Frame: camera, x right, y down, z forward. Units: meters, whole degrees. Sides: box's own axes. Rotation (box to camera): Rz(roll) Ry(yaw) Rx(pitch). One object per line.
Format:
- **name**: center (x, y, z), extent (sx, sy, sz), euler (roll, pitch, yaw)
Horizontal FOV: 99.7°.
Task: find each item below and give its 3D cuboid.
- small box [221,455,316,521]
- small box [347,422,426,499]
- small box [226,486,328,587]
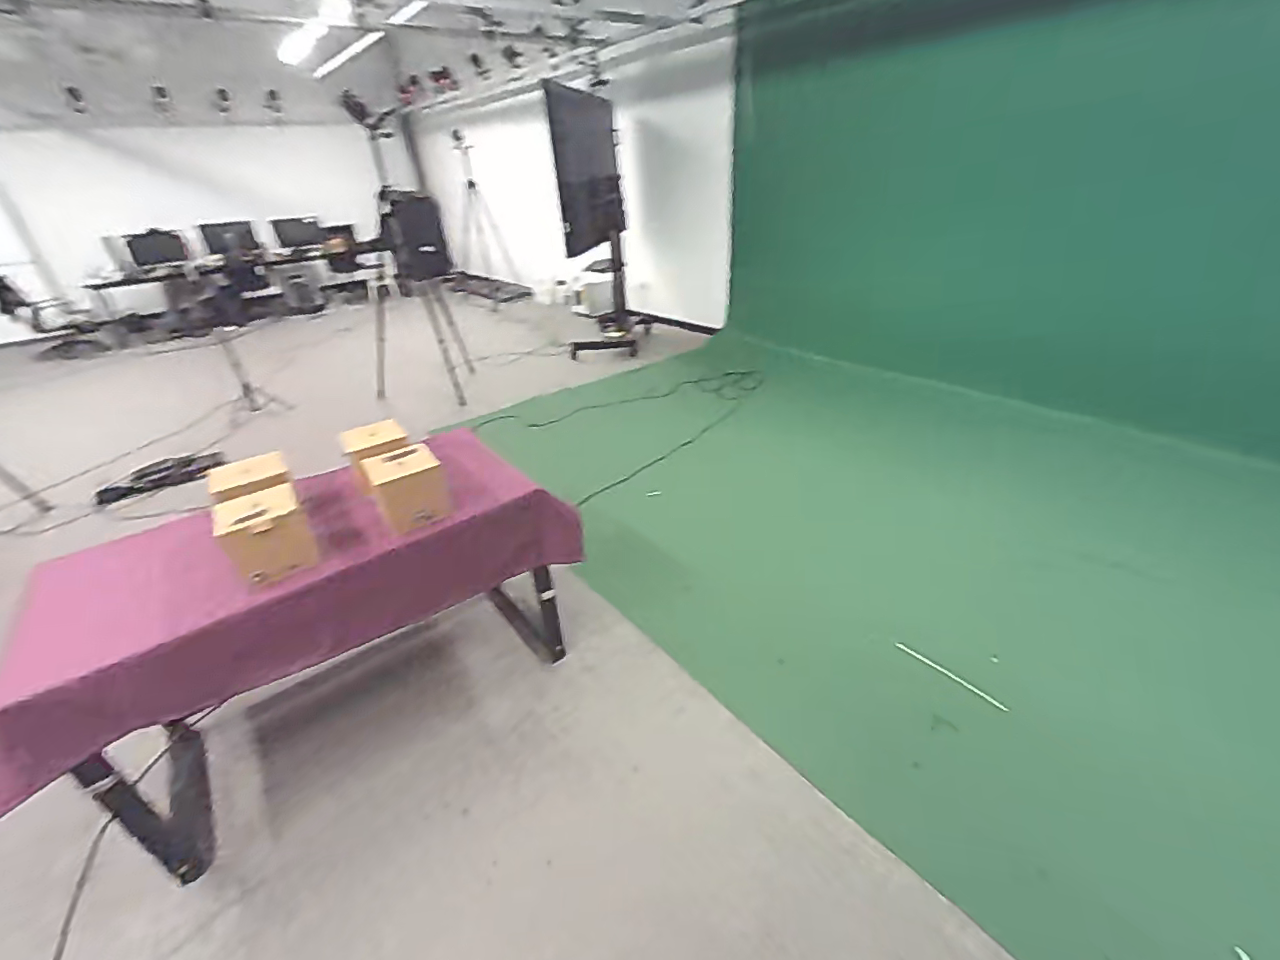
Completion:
- **small box**: center (-1.058, 0.055, 1.544), extent (0.179, 0.176, 0.168), euler (-22, 35, -27)
- **small box**: center (-0.795, -0.060, 1.702), extent (0.168, 0.176, 0.179), euler (-22, 34, -27)
- **small box**: center (-0.911, 0.146, 1.363), extent (0.168, 0.176, 0.179), euler (-23, 33, -29)
